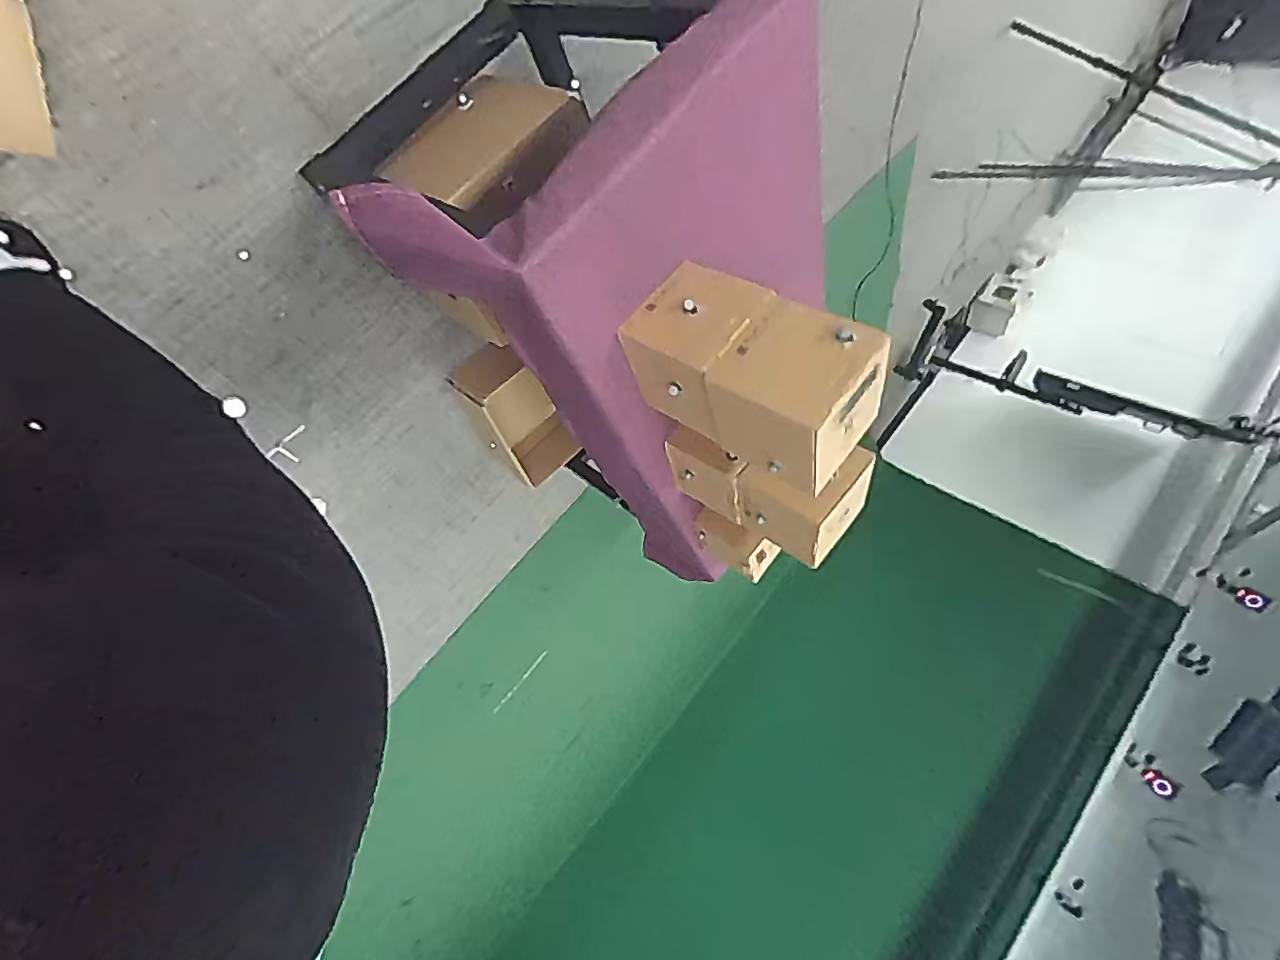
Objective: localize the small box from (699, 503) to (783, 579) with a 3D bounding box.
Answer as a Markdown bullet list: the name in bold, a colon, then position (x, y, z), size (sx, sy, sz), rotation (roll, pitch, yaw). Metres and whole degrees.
- **small box**: position (0.261, 0.110, 1.345), size (0.179, 0.176, 0.168), rotation (-49, 148, -14)

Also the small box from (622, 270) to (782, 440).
- **small box**: position (0.097, -0.199, 0.834), size (0.168, 0.176, 0.179), rotation (-48, 147, -13)

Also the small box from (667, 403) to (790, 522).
- **small box**: position (0.179, -0.057, 1.083), size (0.179, 0.176, 0.168), rotation (-45, 147, -17)

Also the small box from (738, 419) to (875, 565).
- **small box**: position (0.302, 0.017, 1.001), size (0.179, 0.176, 0.168), rotation (-44, 146, -18)
